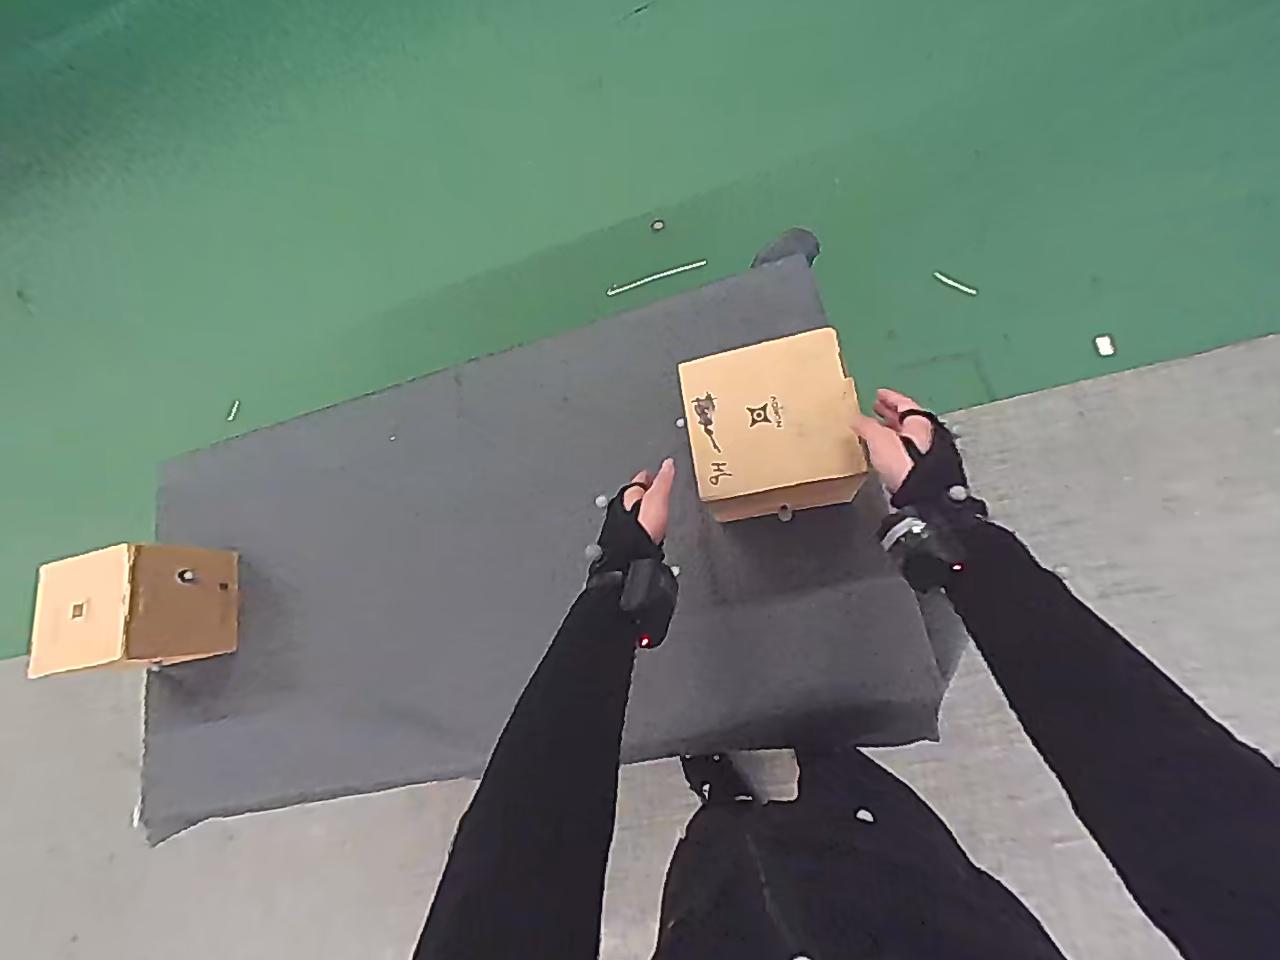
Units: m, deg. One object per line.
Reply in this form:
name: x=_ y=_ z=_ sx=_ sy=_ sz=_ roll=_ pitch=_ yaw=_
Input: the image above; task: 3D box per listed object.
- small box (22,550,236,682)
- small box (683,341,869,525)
small box: x=-0.770 y=0.209 z=0.835 sx=0.179 sy=0.176 sz=0.168 roll=-12 pitch=73 yaw=12
small box: x=0.160 y=-0.044 z=0.663 sx=0.179 sy=0.176 sz=0.168 roll=-11 pitch=76 yaw=12
